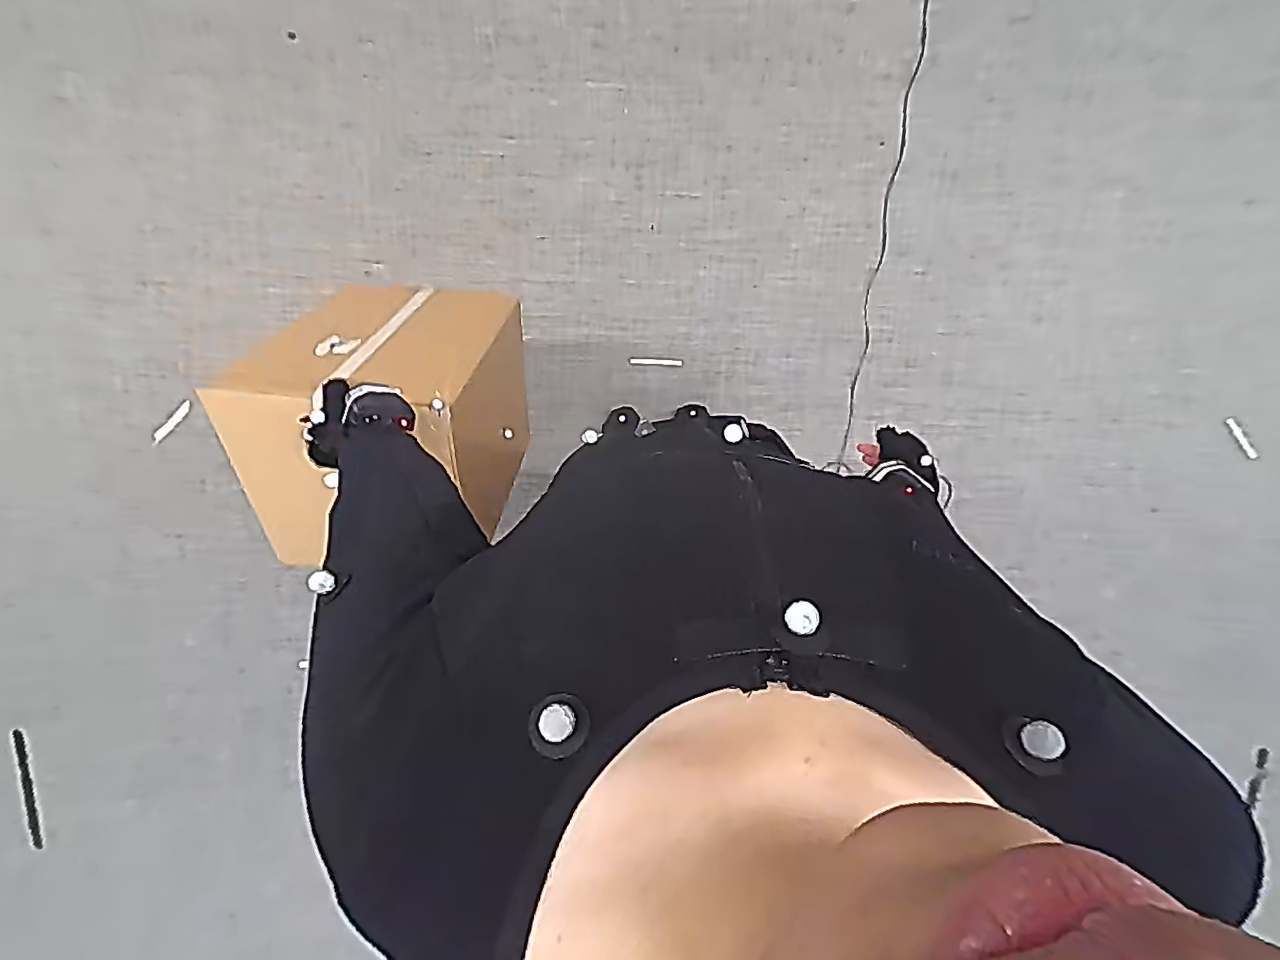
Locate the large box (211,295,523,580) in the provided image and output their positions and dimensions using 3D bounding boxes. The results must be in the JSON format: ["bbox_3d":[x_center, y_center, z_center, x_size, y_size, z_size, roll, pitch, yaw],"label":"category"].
[{"bbox_3d":[-0.394,-0.087,0.924,0.320,0.408,0.320,3,128,0],"label":"large box"}]
